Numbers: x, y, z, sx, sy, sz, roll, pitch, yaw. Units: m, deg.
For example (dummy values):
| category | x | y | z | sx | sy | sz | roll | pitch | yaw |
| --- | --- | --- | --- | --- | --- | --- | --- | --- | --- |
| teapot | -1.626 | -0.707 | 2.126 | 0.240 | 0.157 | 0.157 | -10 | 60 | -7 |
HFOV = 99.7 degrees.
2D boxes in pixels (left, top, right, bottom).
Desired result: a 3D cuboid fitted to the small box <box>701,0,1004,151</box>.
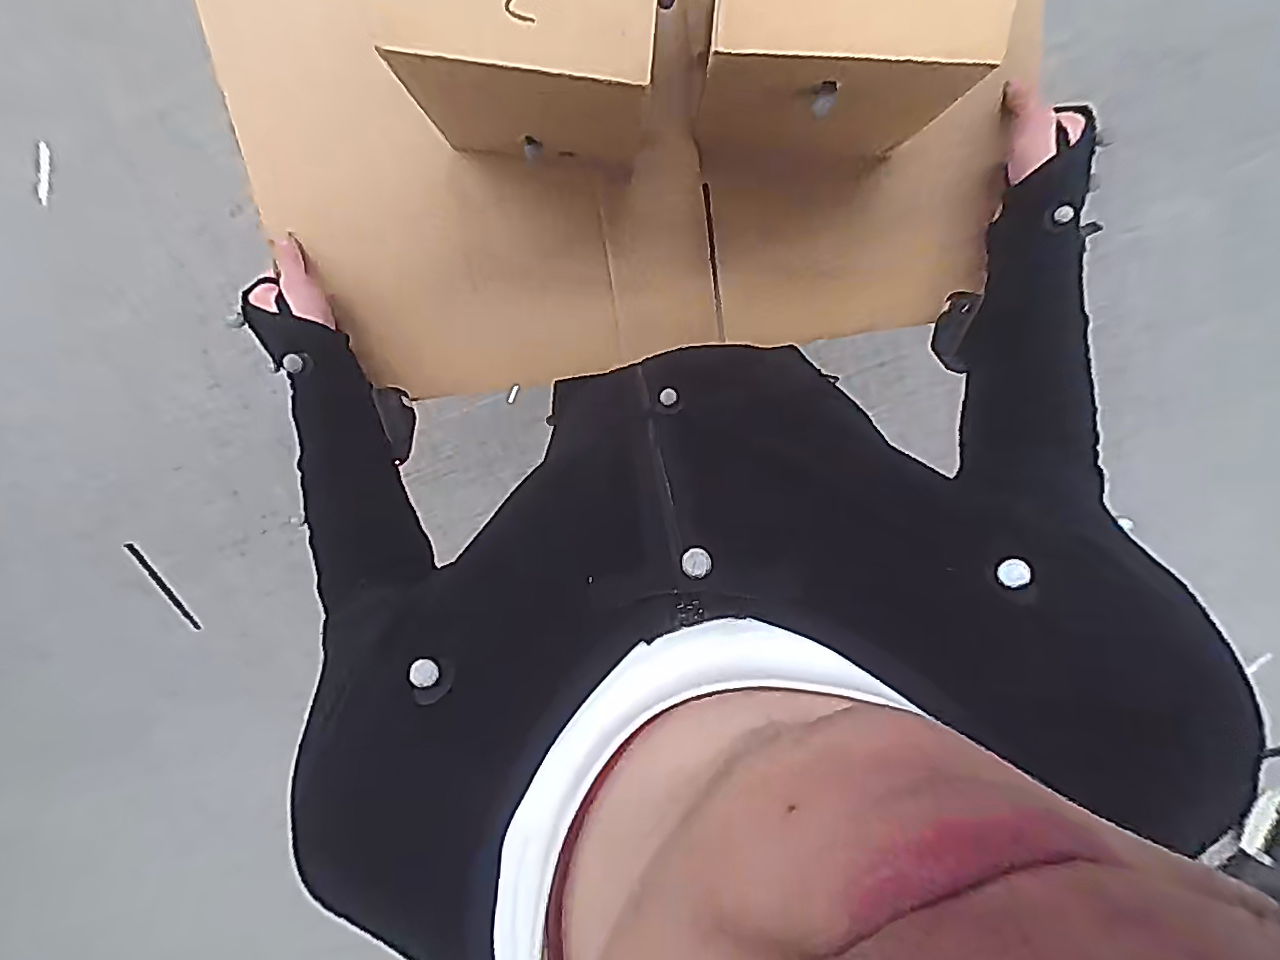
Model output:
| category | x | y | z | sx | sy | sz | roll | pitch | yaw |
| --- | --- | --- | --- | --- | --- | --- | --- | --- | --- |
| small box | 0.143 | -0.359 | 0.396 | 0.179 | 0.176 | 0.168 | 5 | 105 | 3 |
